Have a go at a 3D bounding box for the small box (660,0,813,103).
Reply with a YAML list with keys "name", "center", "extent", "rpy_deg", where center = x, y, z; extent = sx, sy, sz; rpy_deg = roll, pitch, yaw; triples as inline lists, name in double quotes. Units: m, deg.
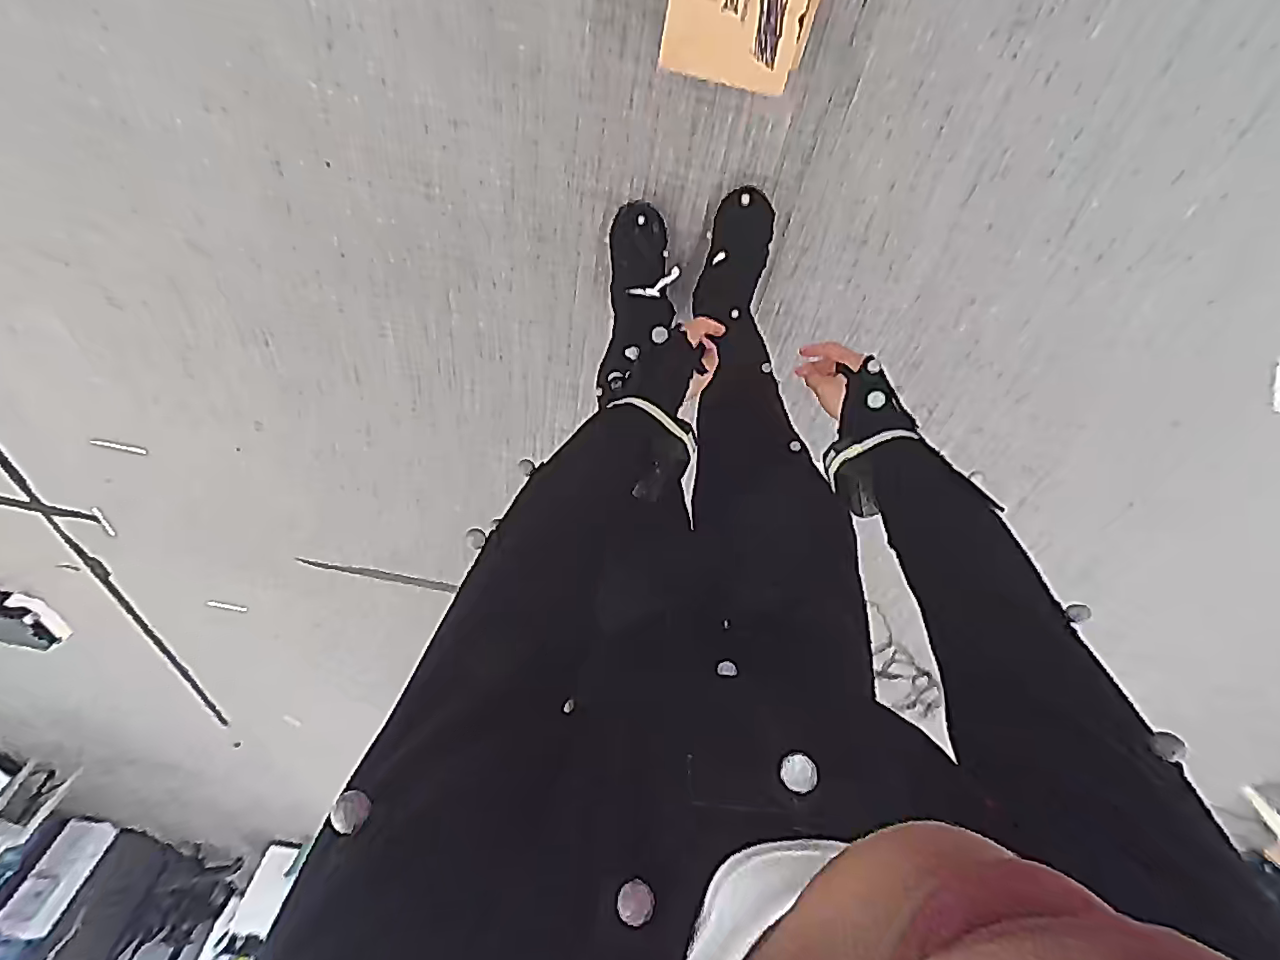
- name: "small box"
  center: [0.135, -0.650, 0.747]
  extent: [0.179, 0.176, 0.168]
  rpy_deg: [13, 132, -2]
